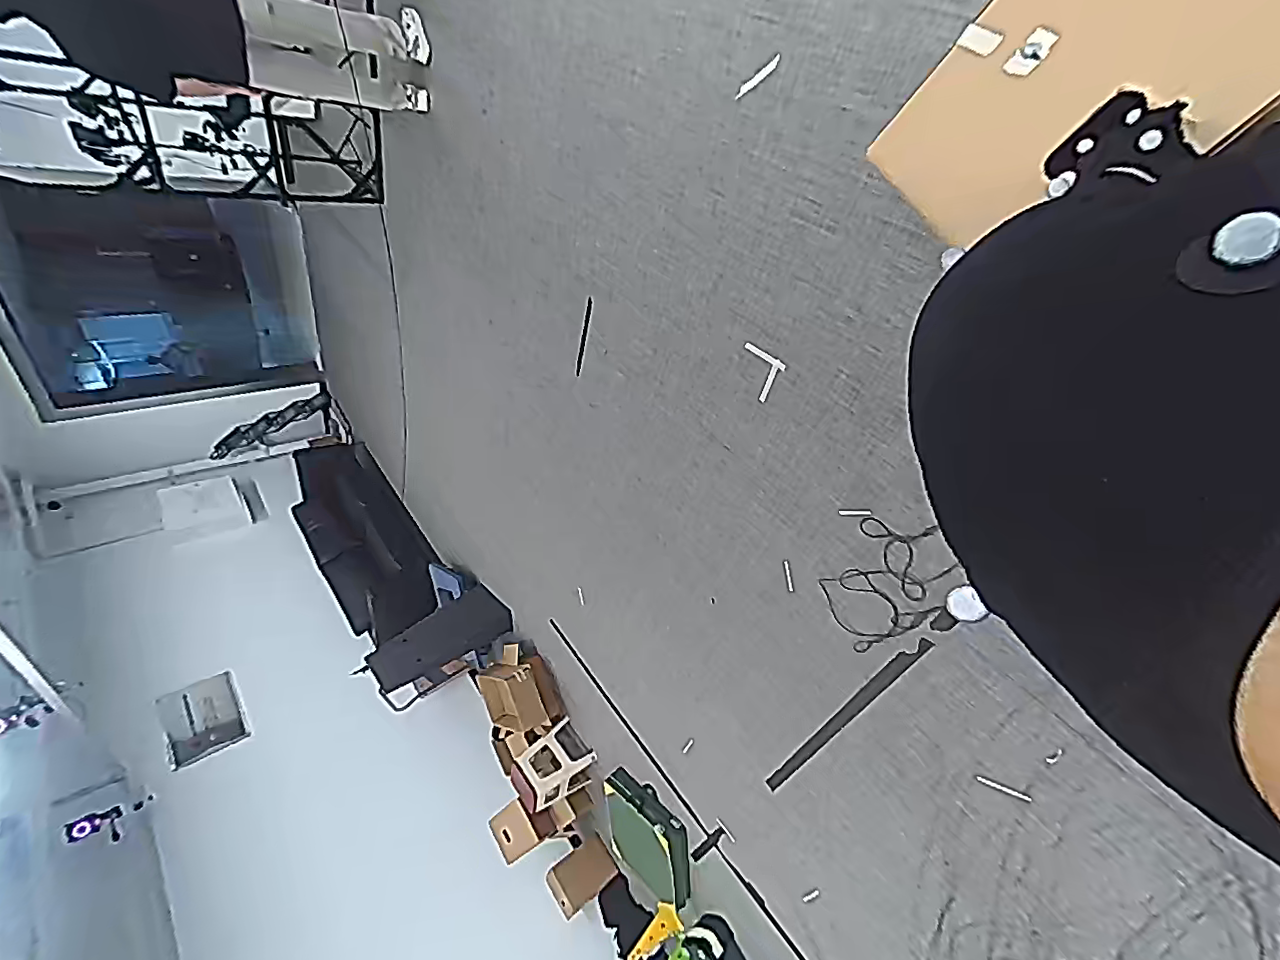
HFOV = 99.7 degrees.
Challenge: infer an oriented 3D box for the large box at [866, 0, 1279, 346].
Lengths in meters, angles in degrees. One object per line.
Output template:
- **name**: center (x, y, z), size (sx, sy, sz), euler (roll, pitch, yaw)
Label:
- **large box**: center (0.603, -0.424, 0.747), size (0.320, 0.408, 0.320), euler (-45, 60, 40)
